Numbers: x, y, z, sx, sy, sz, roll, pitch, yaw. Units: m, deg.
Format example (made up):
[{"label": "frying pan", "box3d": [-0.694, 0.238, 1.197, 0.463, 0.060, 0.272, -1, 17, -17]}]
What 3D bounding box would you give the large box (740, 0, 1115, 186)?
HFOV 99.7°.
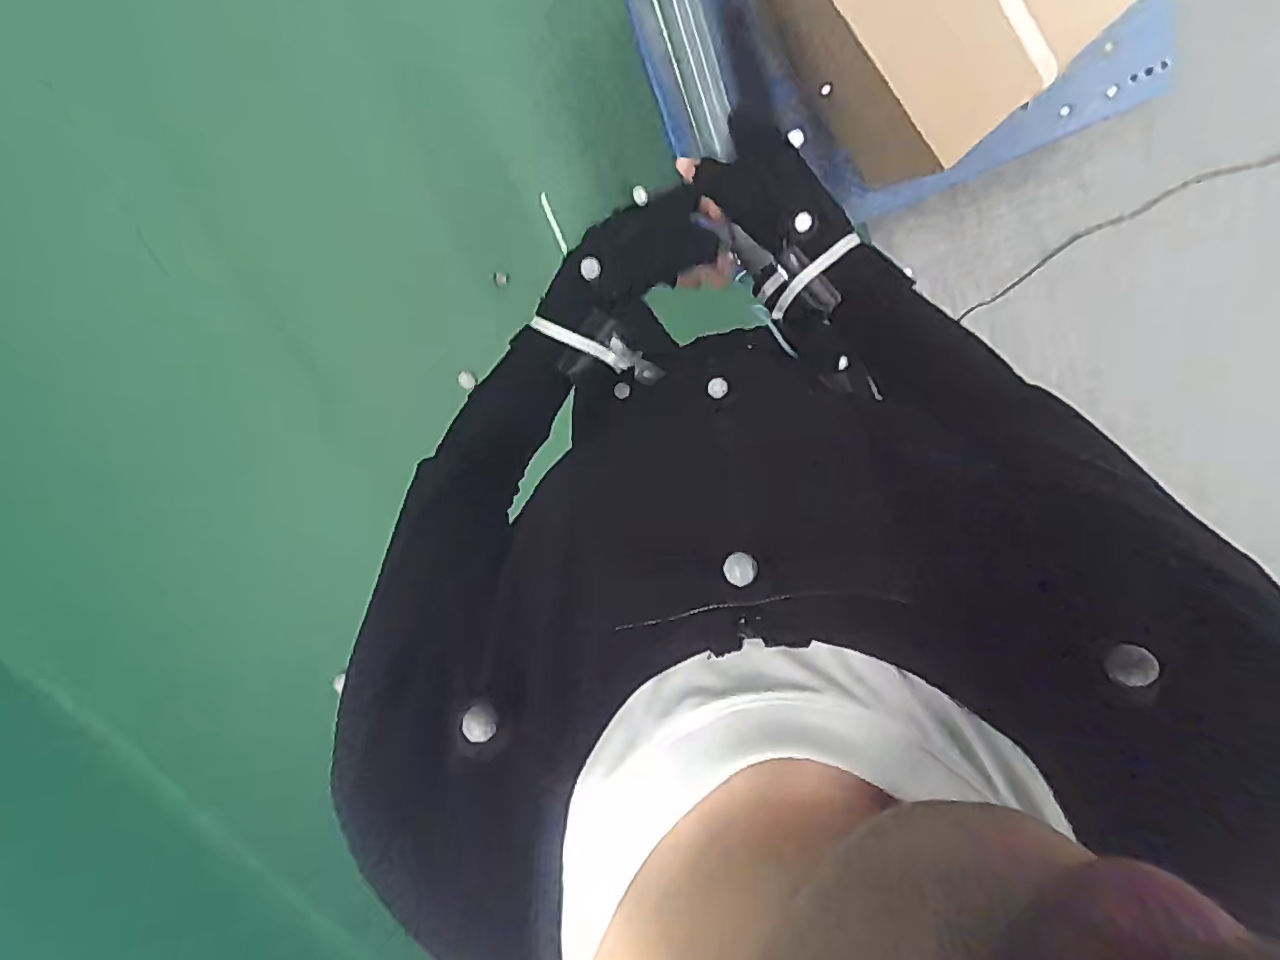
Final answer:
[{"label": "large box", "box3d": [0.412, -0.743, 0.837, 0.320, 0.320, 0.408, -41, 104, 18]}]
